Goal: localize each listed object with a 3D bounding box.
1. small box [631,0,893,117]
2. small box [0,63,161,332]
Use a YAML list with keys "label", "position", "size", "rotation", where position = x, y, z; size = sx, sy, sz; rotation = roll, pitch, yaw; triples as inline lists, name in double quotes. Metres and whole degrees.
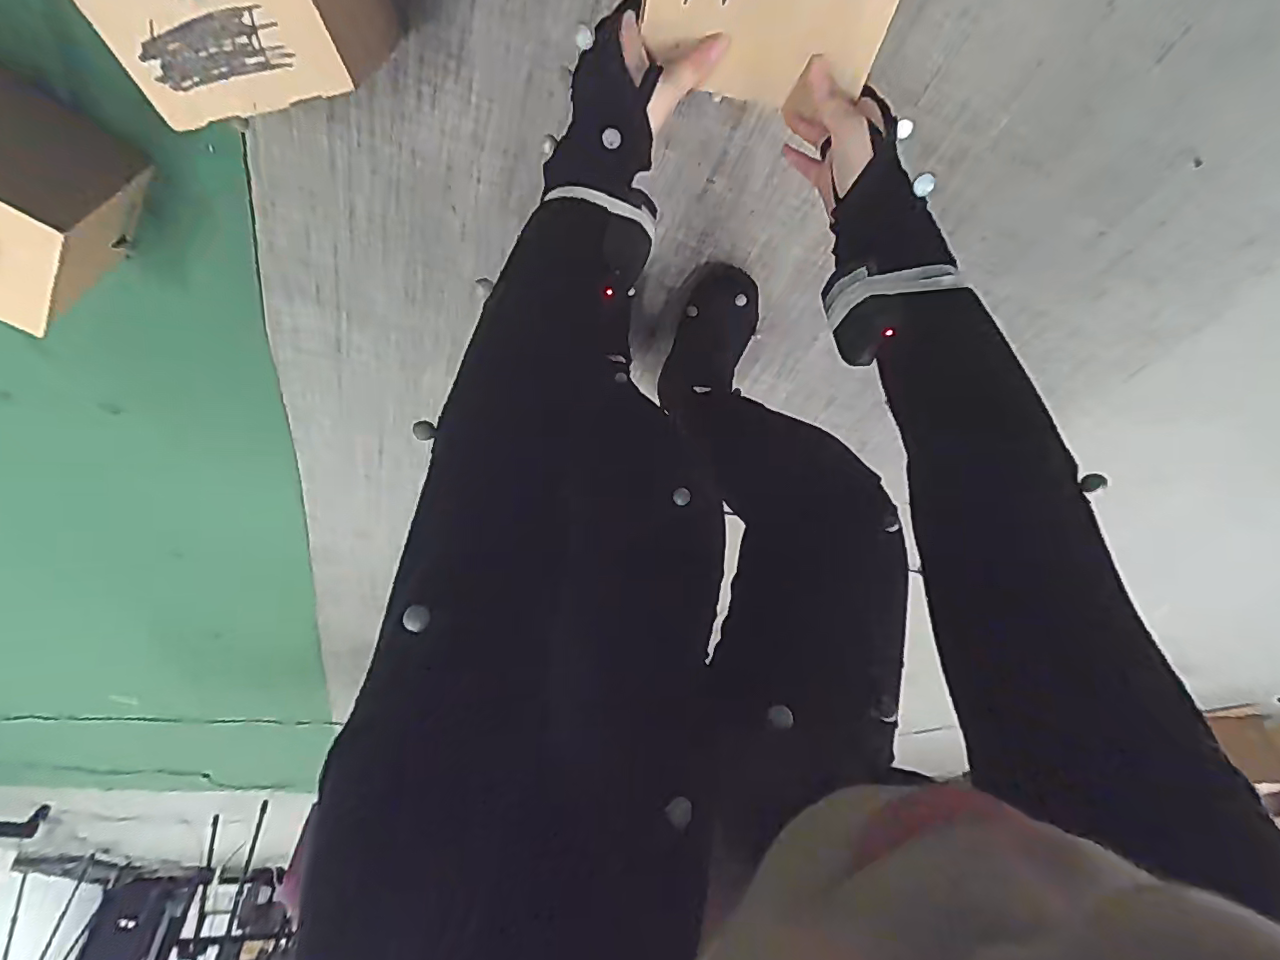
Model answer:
- label: "small box"
  position: [0.092, -0.410, 0.410]
  size: [0.179, 0.176, 0.168]
  rotation: [6, 138, -10]
- label: "small box"
  position: [-0.659, -0.298, 0.559]
  size: [0.168, 0.176, 0.179]
  rotation: [-33, 132, 31]
